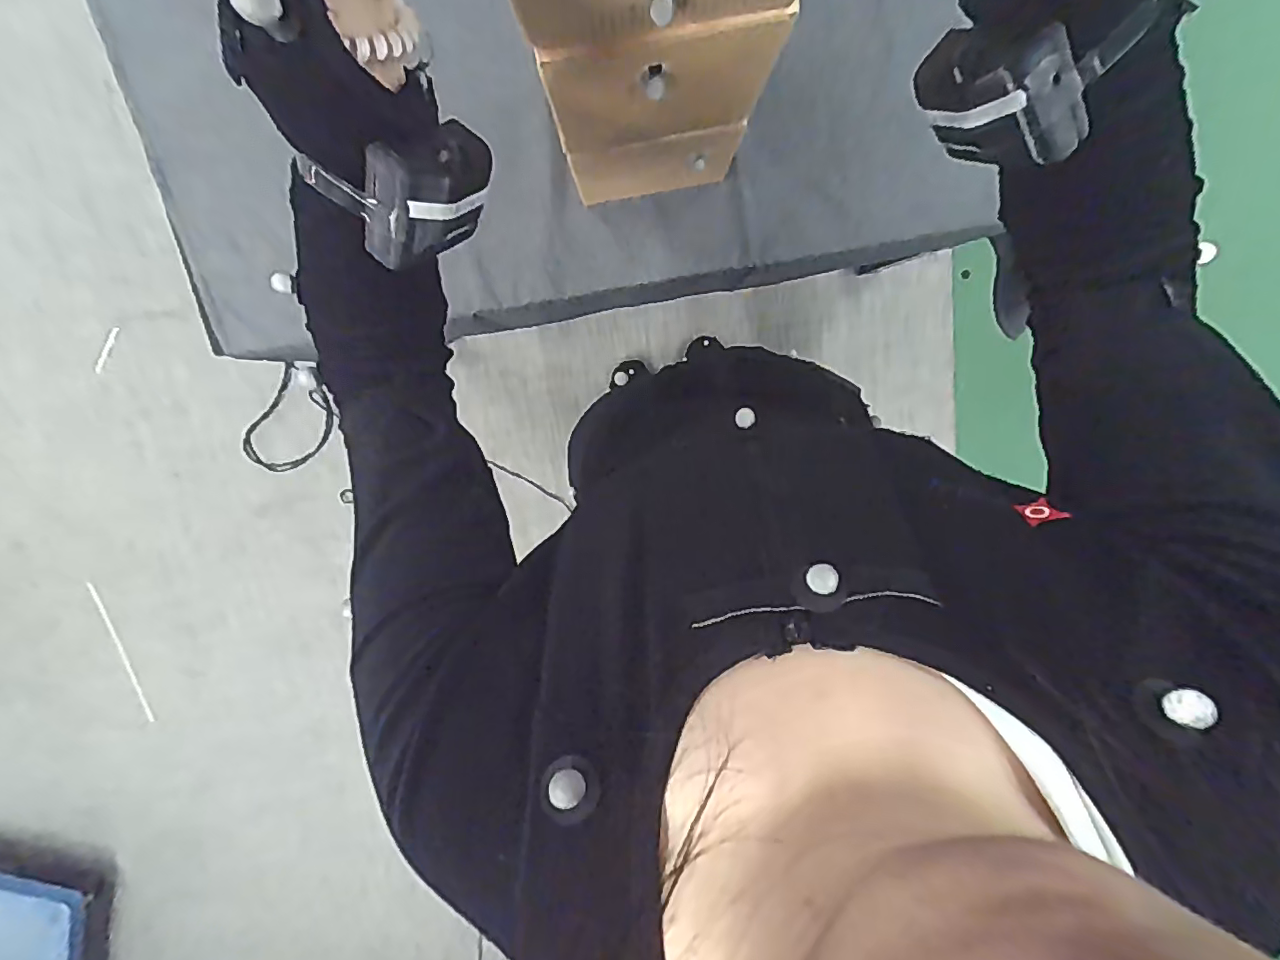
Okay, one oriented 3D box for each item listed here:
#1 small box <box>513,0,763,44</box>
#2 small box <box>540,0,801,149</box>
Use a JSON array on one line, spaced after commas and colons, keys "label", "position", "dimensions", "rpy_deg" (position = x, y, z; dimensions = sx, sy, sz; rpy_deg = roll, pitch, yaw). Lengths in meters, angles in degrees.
[{"label": "small box", "position": [0.002, -0.354, 0.256], "dimensions": [0.179, 0.176, 0.168], "rpy_deg": [-8, 102, 2]}, {"label": "small box", "position": [0.007, -0.386, 0.417], "dimensions": [0.179, 0.176, 0.168], "rpy_deg": [-10, 103, 3]}]
